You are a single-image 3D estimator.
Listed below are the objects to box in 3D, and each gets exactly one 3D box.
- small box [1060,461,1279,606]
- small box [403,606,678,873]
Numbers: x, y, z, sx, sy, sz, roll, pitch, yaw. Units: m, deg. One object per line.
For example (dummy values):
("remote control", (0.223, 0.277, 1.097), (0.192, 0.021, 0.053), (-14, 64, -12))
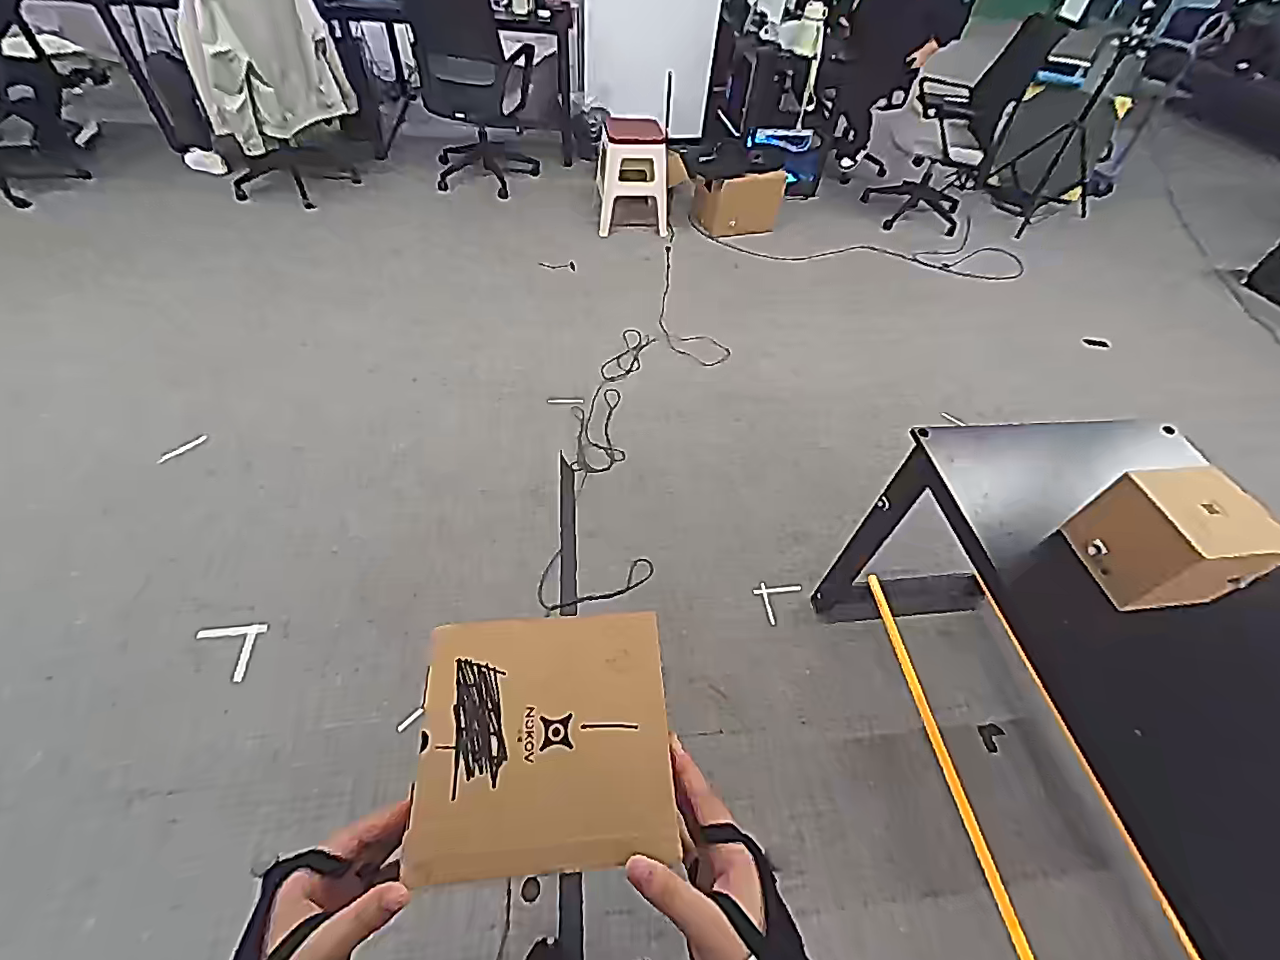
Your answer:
("small box", (0.853, 0.089, 0.880), (0.179, 0.176, 0.168), (-5, 50, -8))
("small box", (-0.070, 0.218, 0.449), (0.179, 0.176, 0.168), (-3, 56, -6))
